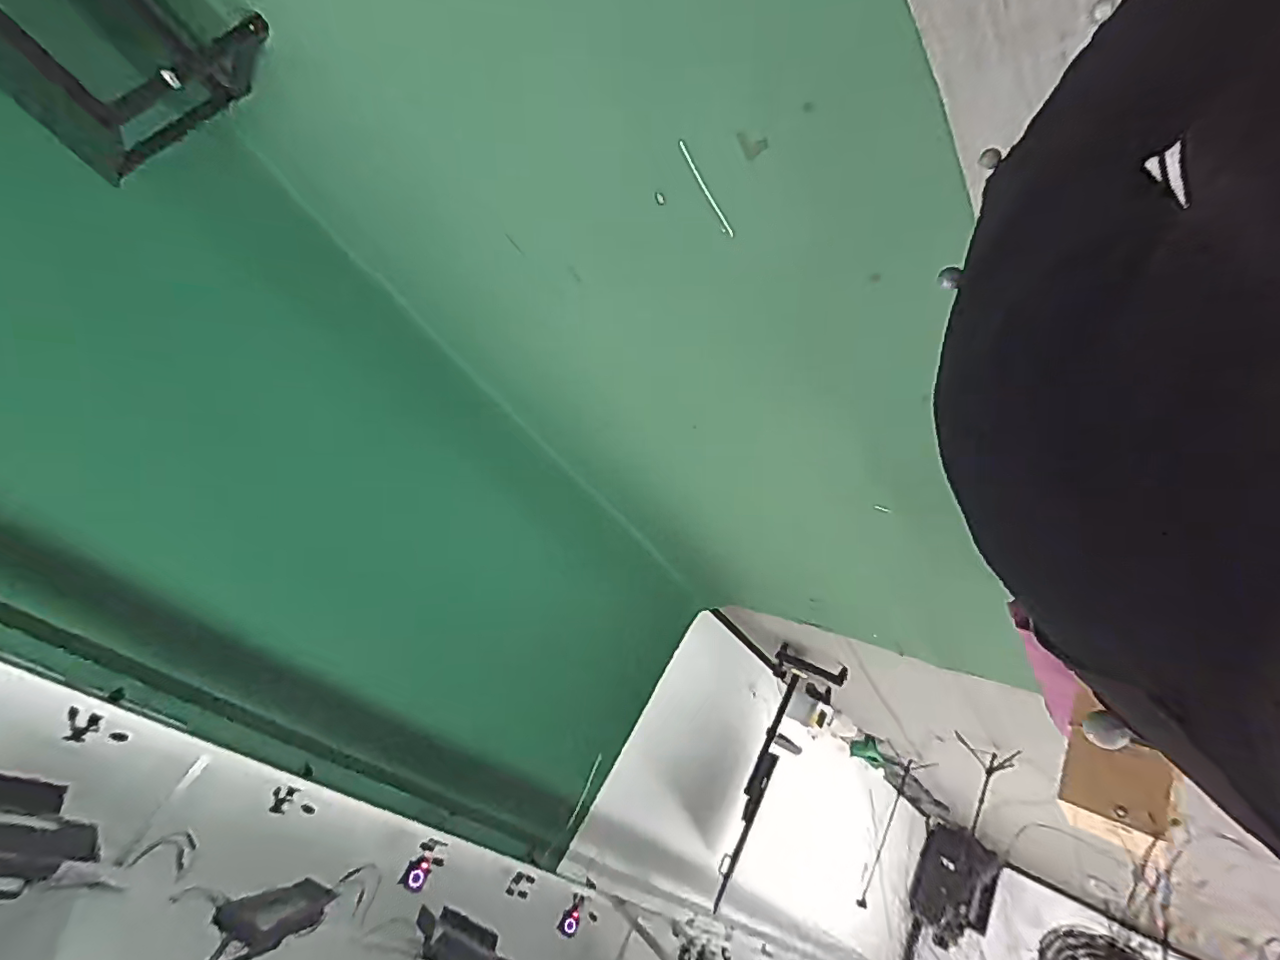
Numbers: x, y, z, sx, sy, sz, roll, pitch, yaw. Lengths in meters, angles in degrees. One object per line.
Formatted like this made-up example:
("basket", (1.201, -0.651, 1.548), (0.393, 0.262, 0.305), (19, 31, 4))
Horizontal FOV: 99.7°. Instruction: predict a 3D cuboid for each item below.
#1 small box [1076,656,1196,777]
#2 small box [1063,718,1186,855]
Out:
("small box", (1.106, 0.515, 1.201), (0.179, 0.176, 0.168), (3, 143, 52))
("small box", (1.015, 0.633, 1.129), (0.168, 0.176, 0.179), (3, 144, 50))
